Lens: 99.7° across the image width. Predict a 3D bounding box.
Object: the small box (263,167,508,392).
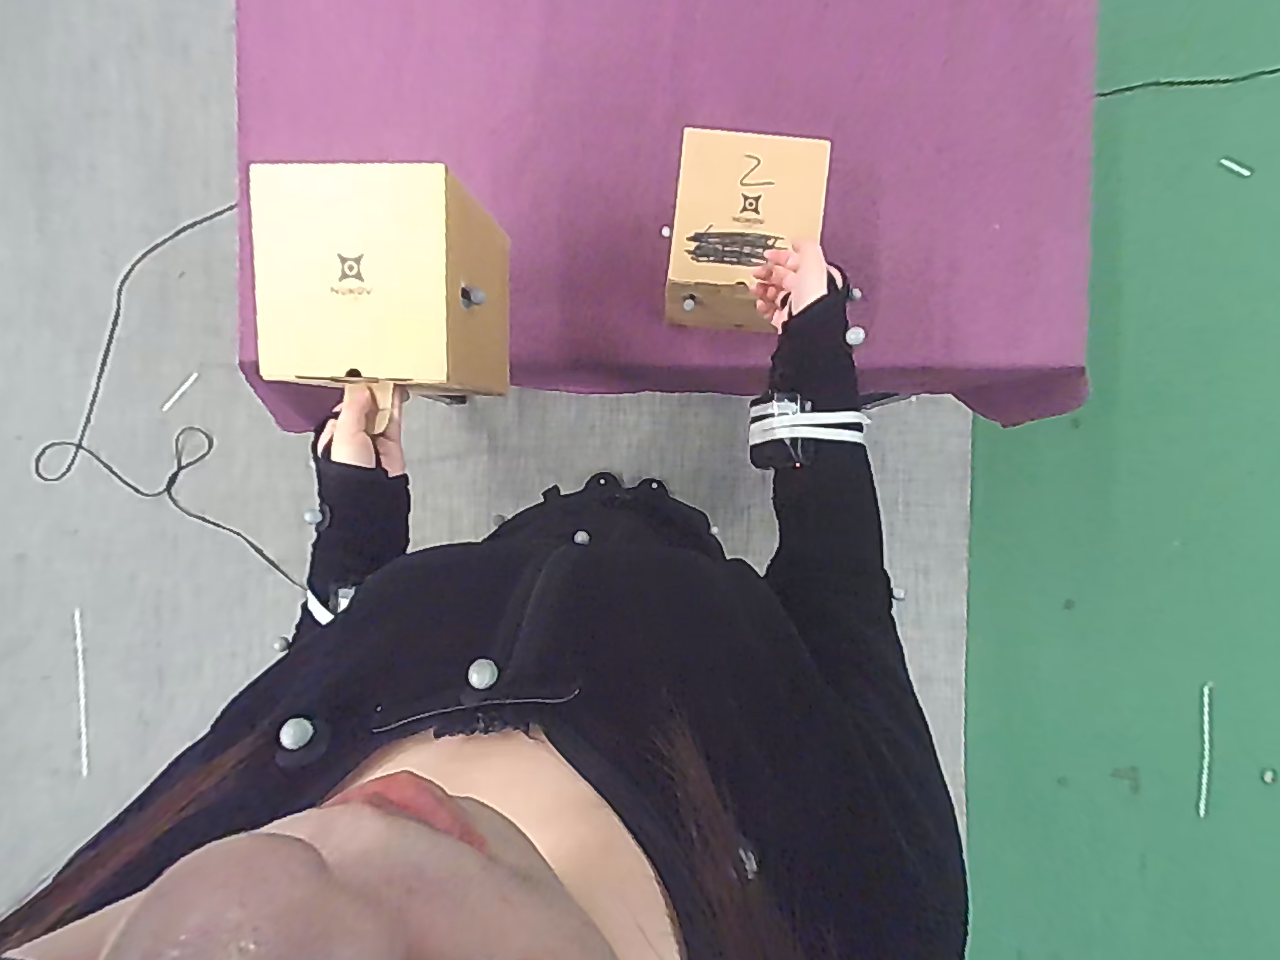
[{"bbox_3d":[-0.237,-0.184,0.542,0.168,0.176,0.179,2,97,3],"label":"small box"}]
